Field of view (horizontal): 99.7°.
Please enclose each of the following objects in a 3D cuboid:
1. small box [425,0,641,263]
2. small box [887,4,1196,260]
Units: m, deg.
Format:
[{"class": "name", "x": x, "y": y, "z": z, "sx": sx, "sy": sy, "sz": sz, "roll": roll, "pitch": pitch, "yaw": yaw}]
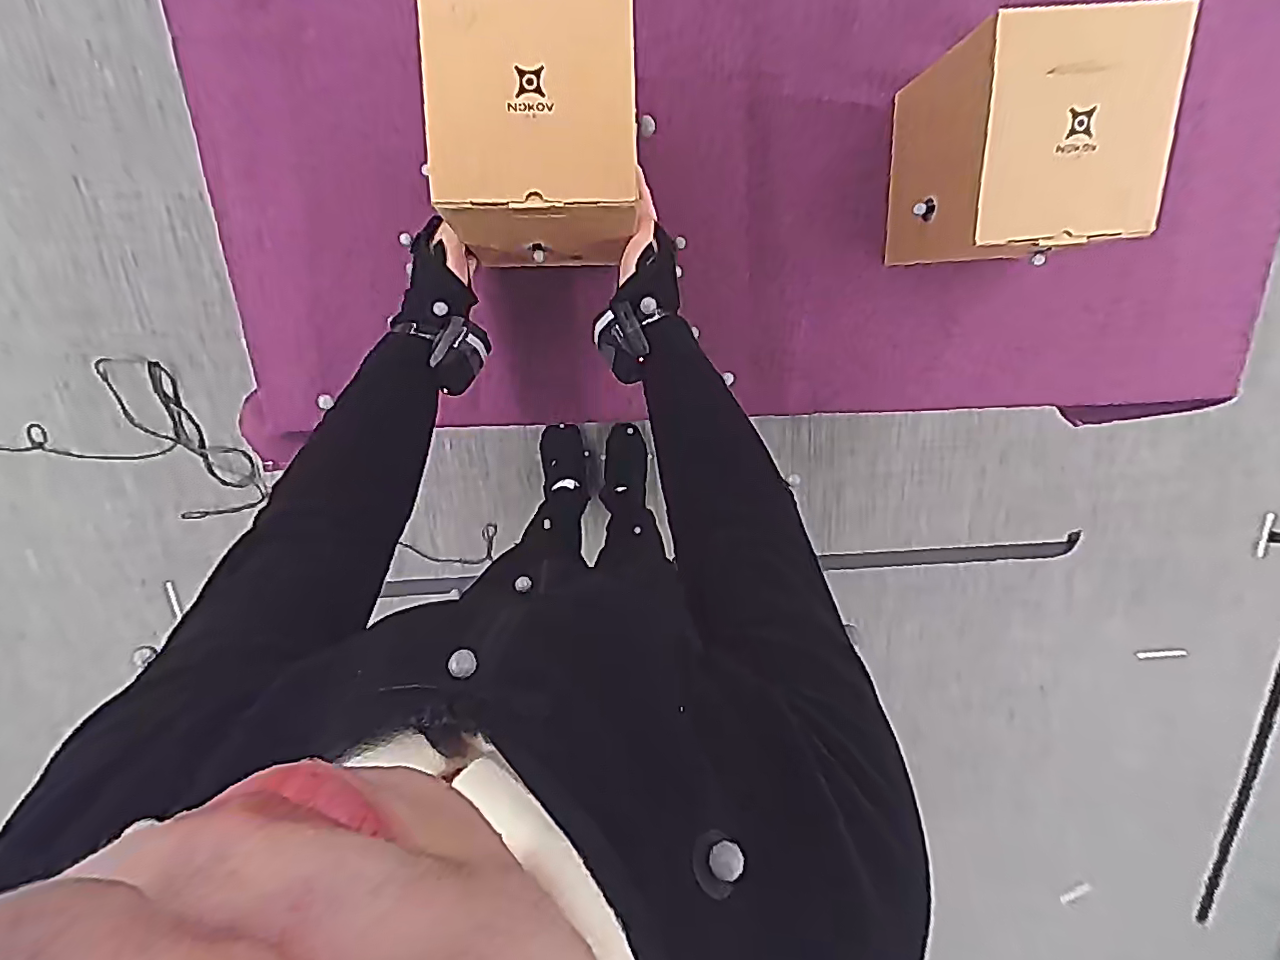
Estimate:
[{"class": "small box", "x": -0.087, "y": -0.314, "z": 0.501, "sx": 0.168, "sy": 0.176, "sz": 0.179, "roll": -2, "pitch": 98, "yaw": -2}, {"class": "small box", "x": 0.364, "y": -0.316, "z": 0.531, "sx": 0.168, "sy": 0.176, "sz": 0.179, "roll": -4, "pitch": 107, "yaw": -2}]
